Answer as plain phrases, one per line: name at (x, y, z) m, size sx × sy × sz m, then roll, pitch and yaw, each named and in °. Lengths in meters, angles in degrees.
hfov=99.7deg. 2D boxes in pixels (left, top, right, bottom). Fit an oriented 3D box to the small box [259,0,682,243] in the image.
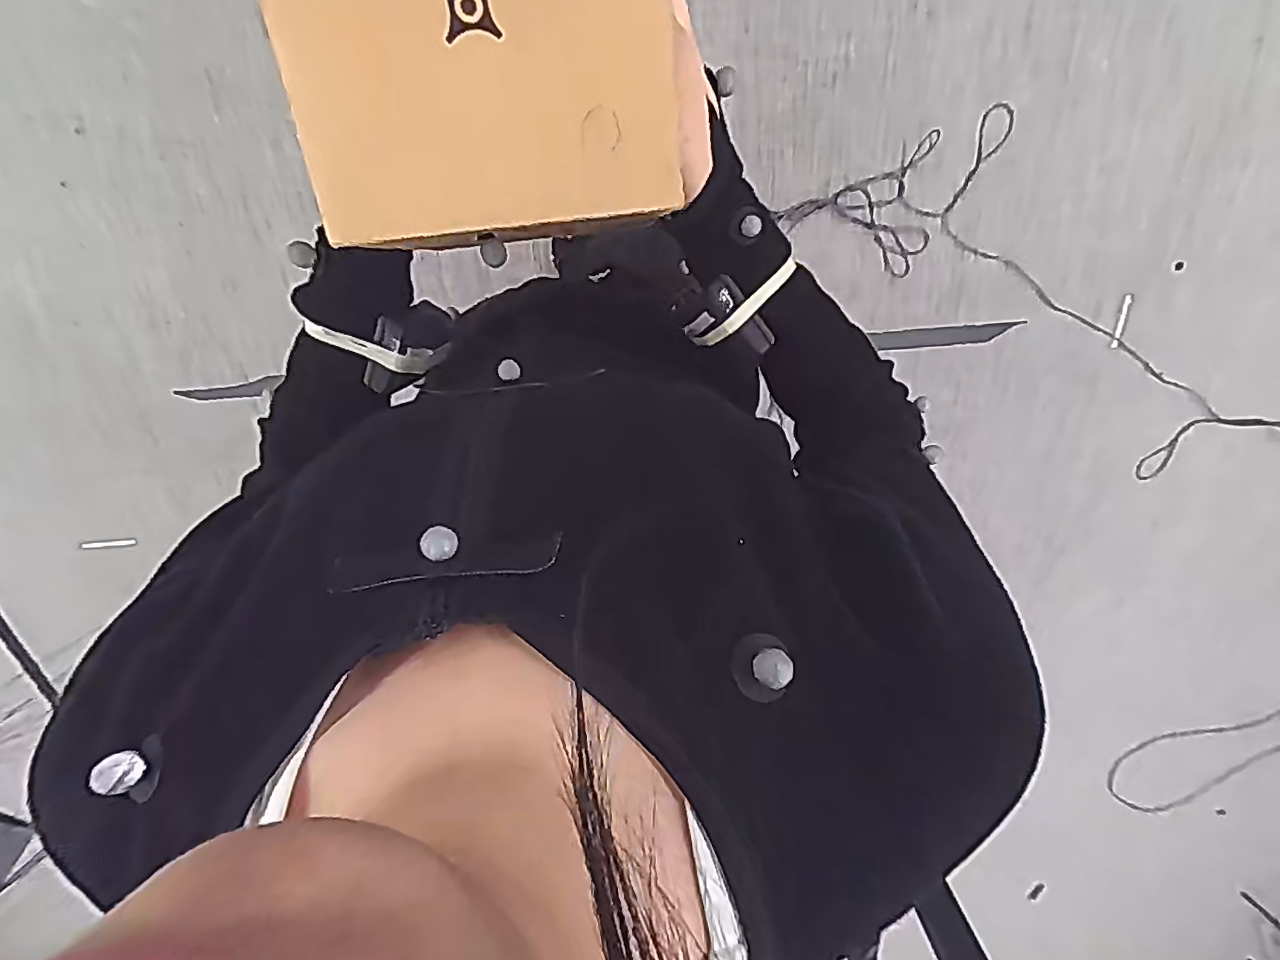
small box at (-0.072, -0.227, 0.287) m, size 0.168 × 0.176 × 0.179 m, roll -7°, pitch 111°, yaw -1°
